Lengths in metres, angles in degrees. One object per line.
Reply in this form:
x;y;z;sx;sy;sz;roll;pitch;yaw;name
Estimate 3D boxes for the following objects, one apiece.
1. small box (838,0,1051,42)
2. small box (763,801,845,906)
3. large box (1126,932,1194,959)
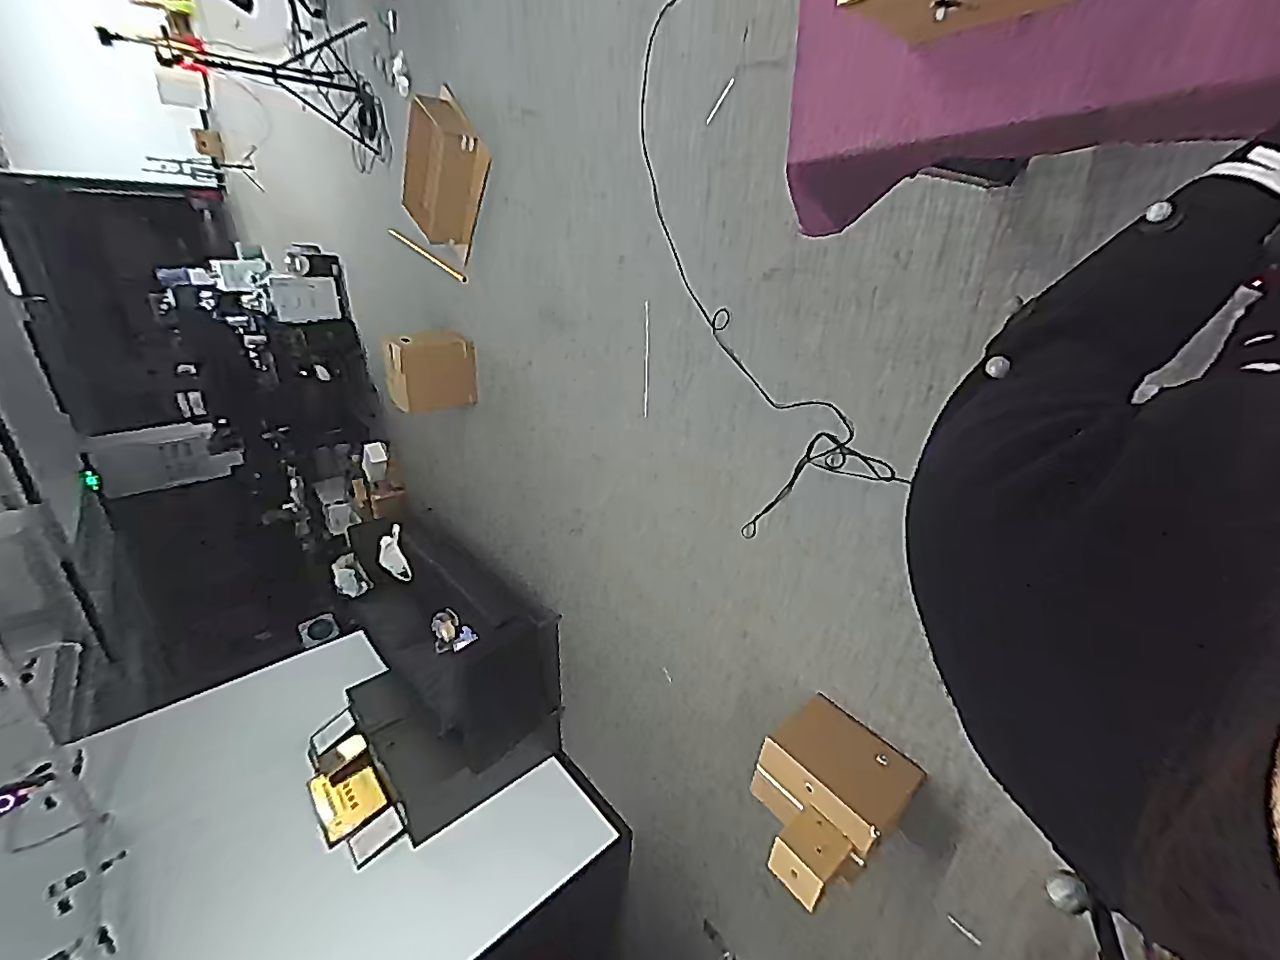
0.326;-0.565;0.527;0.179;0.176;0.168;24;122;44;small box
0.511;1.148;1.677;0.168;0.176;0.179;32;130;40;small box
1.274;1.396;1.248;0.320;0.320;0.408;24;124;43;large box
